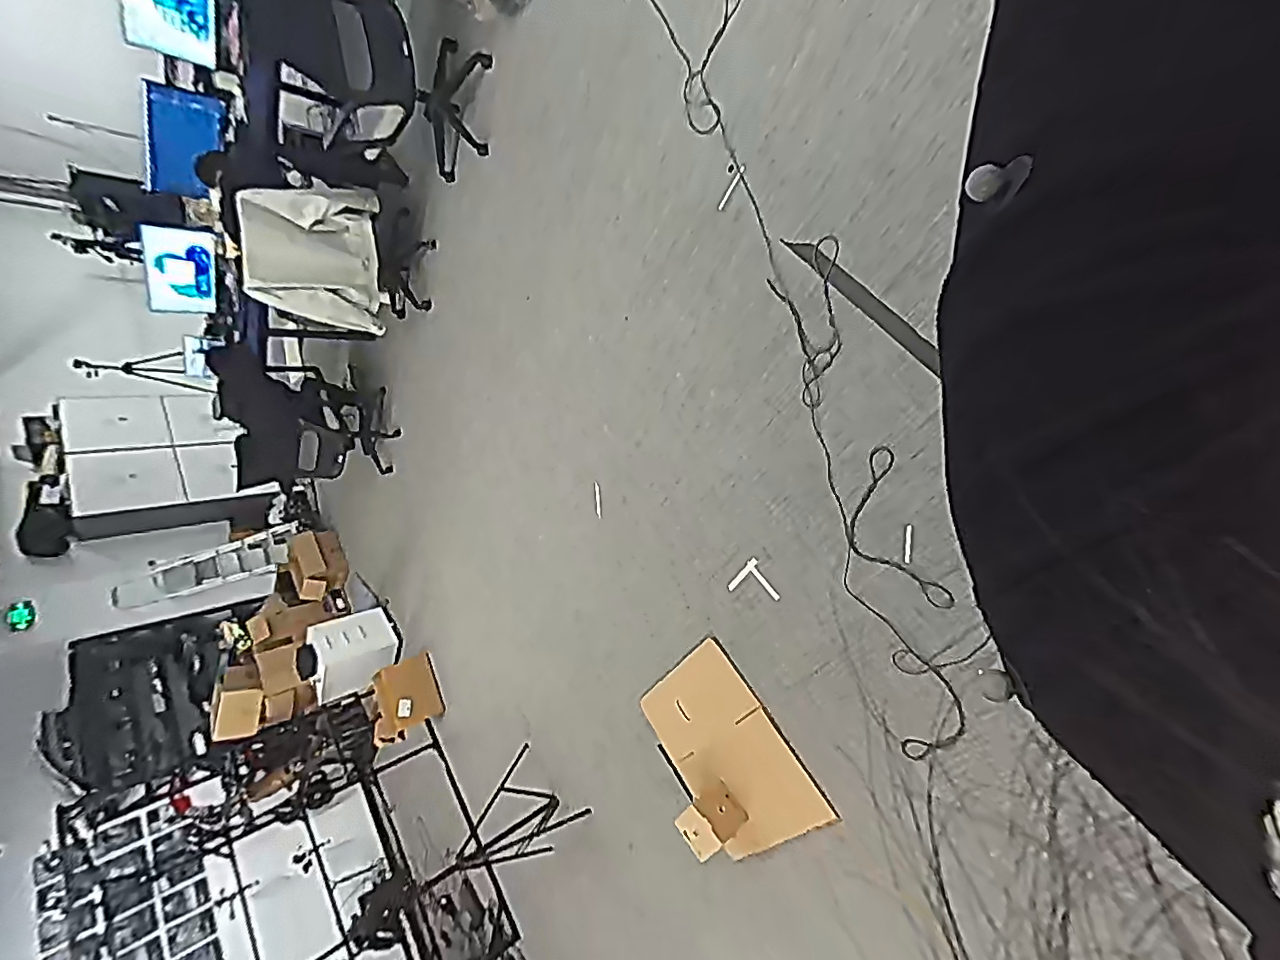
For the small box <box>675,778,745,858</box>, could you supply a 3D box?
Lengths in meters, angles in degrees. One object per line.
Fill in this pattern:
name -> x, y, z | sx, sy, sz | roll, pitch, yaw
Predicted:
small box -> 0.269, 1.271, 2.043 | 0.168, 0.176, 0.179 | 47, 128, 28
